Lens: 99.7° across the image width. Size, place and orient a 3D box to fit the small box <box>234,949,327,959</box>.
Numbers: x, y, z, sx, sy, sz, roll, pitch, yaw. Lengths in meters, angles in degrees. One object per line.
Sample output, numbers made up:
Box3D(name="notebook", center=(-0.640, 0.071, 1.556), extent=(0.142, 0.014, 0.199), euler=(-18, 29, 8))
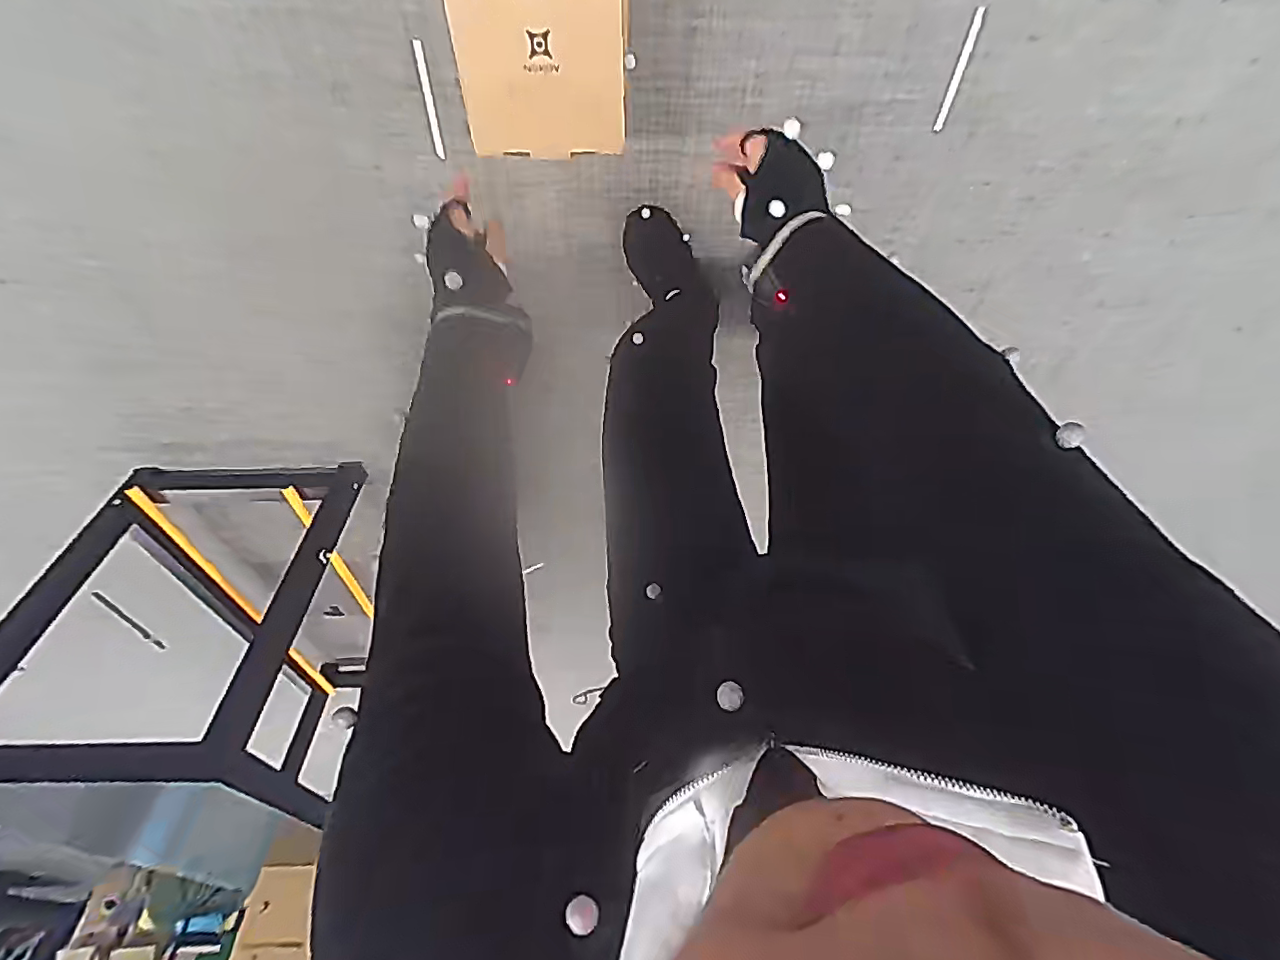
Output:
Box3D(name="small box", center=(-0.903, 1.262, 1.319), extent=(0.168, 0.176, 0.179), euler=(-1, 136, 0))

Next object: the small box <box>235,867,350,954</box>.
Box3D(name="small box", center=(-0.908, 1.143, 1.433), extent=(0.179, 0.176, 0.168), euler=(-1, 137, -2))

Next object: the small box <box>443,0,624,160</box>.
Box3D(name="small box", center=(-0.101, -0.472, 0.587), extent=(0.168, 0.176, 0.179), euler=(-1, 137, -1))
